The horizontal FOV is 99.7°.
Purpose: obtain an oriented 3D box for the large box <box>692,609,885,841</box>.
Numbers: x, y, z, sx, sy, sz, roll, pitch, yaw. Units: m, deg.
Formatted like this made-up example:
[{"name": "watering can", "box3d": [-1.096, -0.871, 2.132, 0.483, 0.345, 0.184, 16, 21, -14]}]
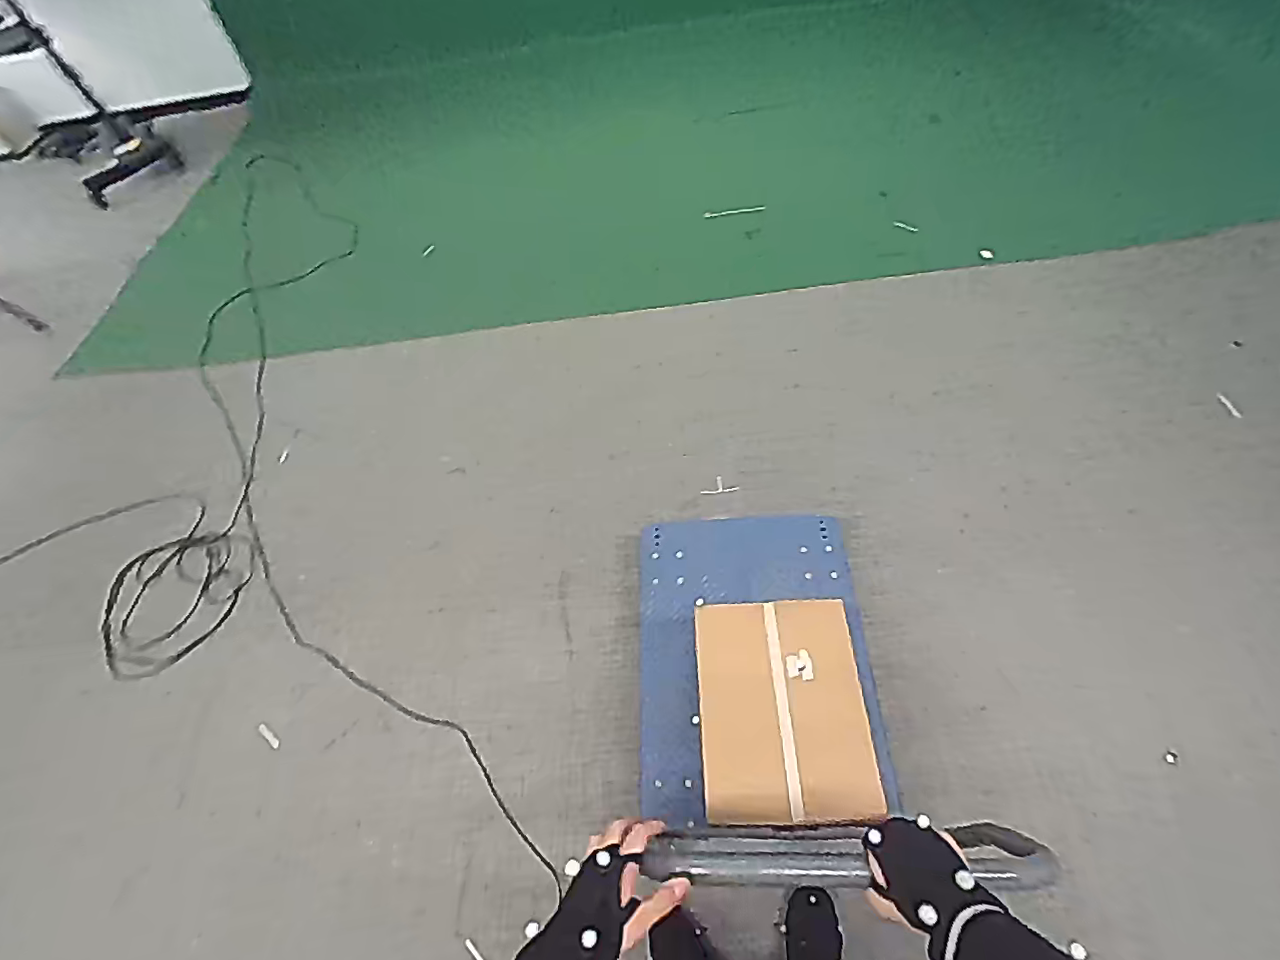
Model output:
[{"name": "large box", "box3d": [0.287, 0.536, 1.173, 0.320, 0.320, 0.408, -4, 55, 5]}]
